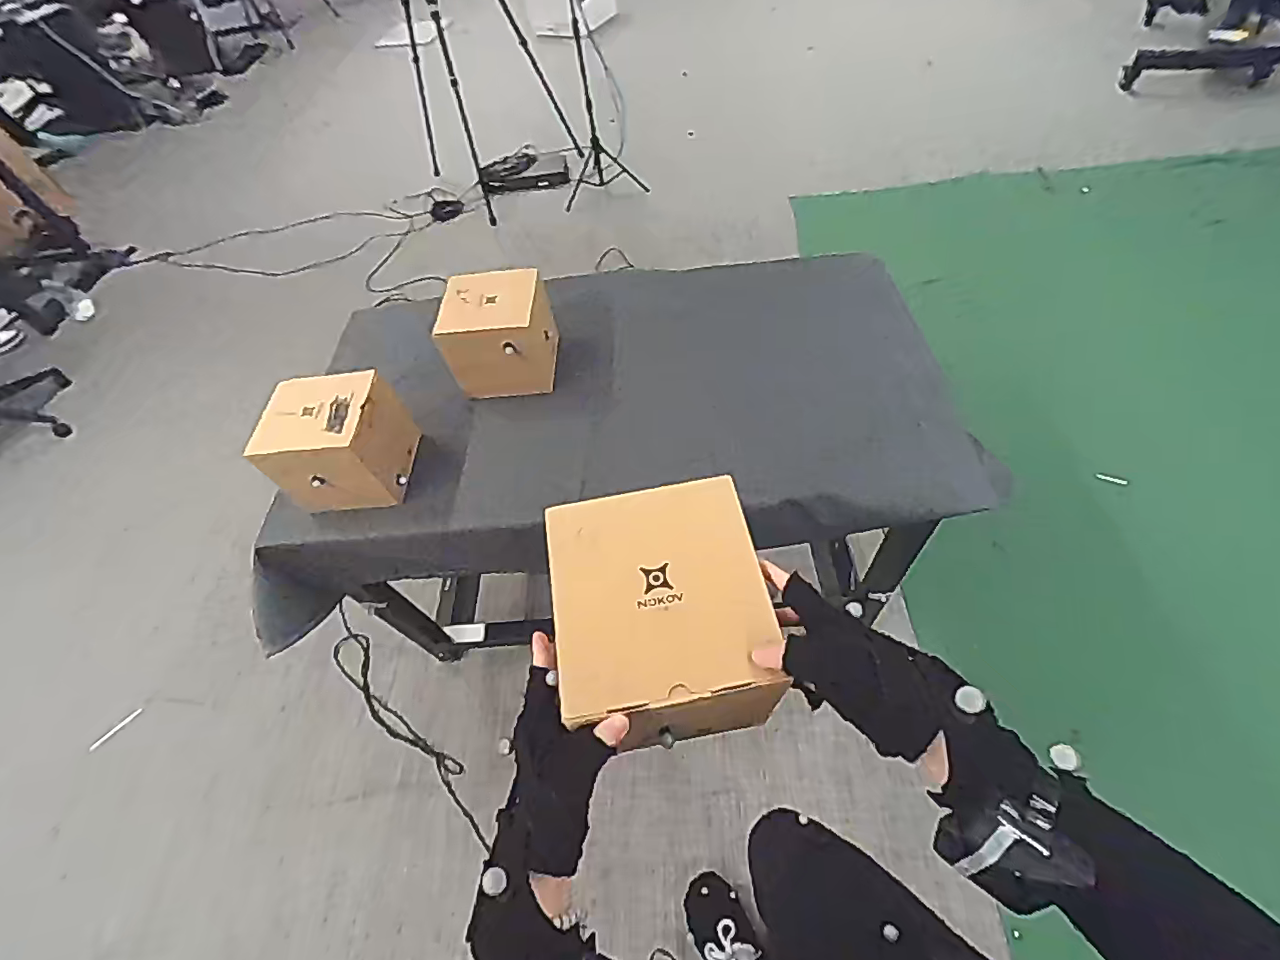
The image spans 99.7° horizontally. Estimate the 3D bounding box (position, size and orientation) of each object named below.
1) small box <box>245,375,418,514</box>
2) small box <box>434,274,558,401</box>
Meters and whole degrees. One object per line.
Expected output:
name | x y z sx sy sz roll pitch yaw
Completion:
small box | -0.508 -0.057 0.925 0.179 0.176 0.168 -5 54 4
small box | -0.264 -0.270 1.042 0.179 0.176 0.168 -3 55 5
